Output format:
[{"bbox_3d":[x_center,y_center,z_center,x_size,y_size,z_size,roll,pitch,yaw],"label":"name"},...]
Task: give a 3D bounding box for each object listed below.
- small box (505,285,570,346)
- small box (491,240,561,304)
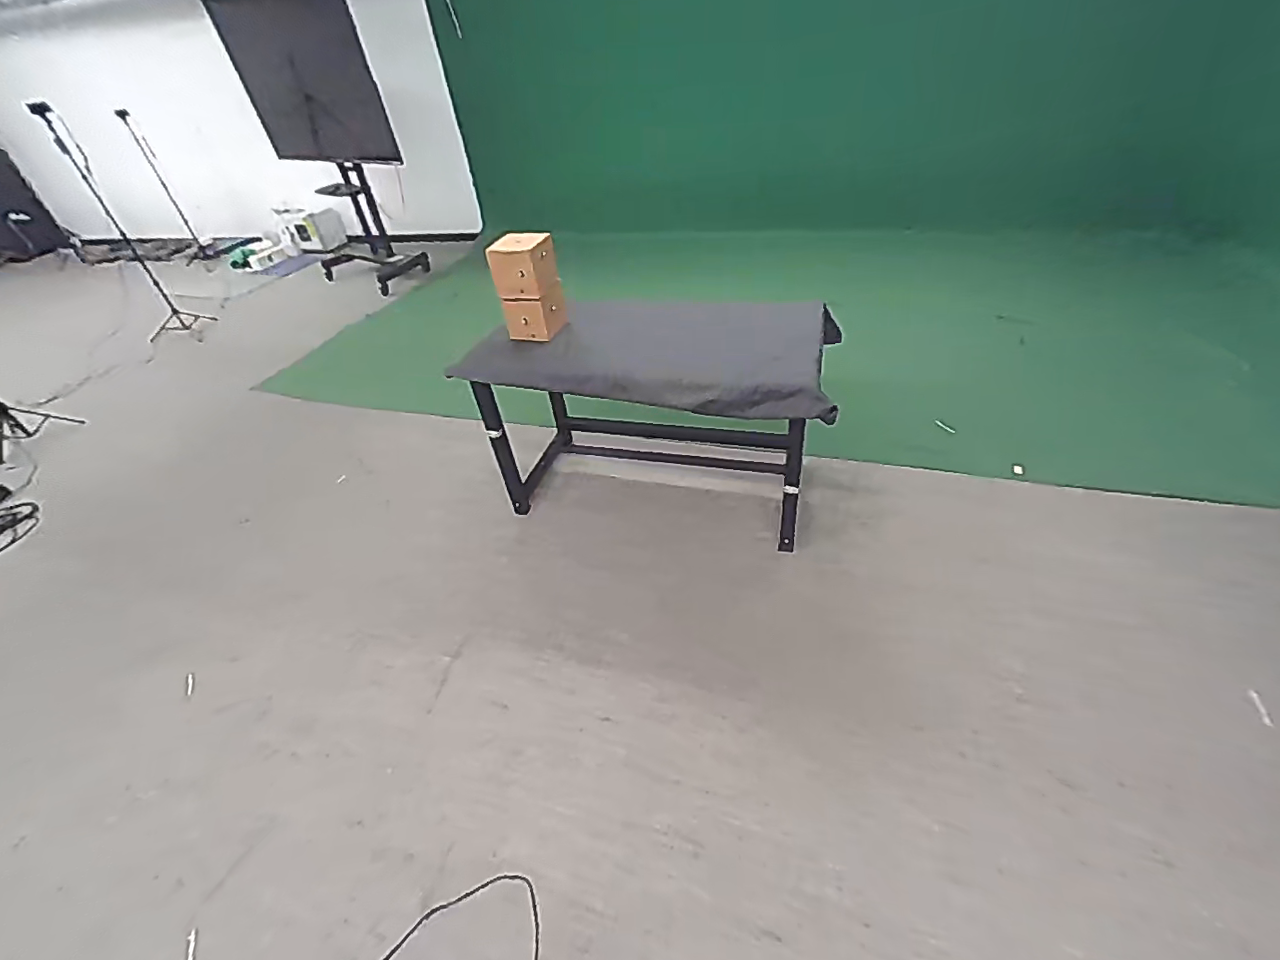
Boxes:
[{"bbox_3d":[-0.374,-0.616,2.019,0.168,0.176,0.179,9,43,18],"label":"small box"},{"bbox_3d":[-0.393,-0.732,1.906,0.168,0.176,0.179,8,41,16],"label":"small box"}]
